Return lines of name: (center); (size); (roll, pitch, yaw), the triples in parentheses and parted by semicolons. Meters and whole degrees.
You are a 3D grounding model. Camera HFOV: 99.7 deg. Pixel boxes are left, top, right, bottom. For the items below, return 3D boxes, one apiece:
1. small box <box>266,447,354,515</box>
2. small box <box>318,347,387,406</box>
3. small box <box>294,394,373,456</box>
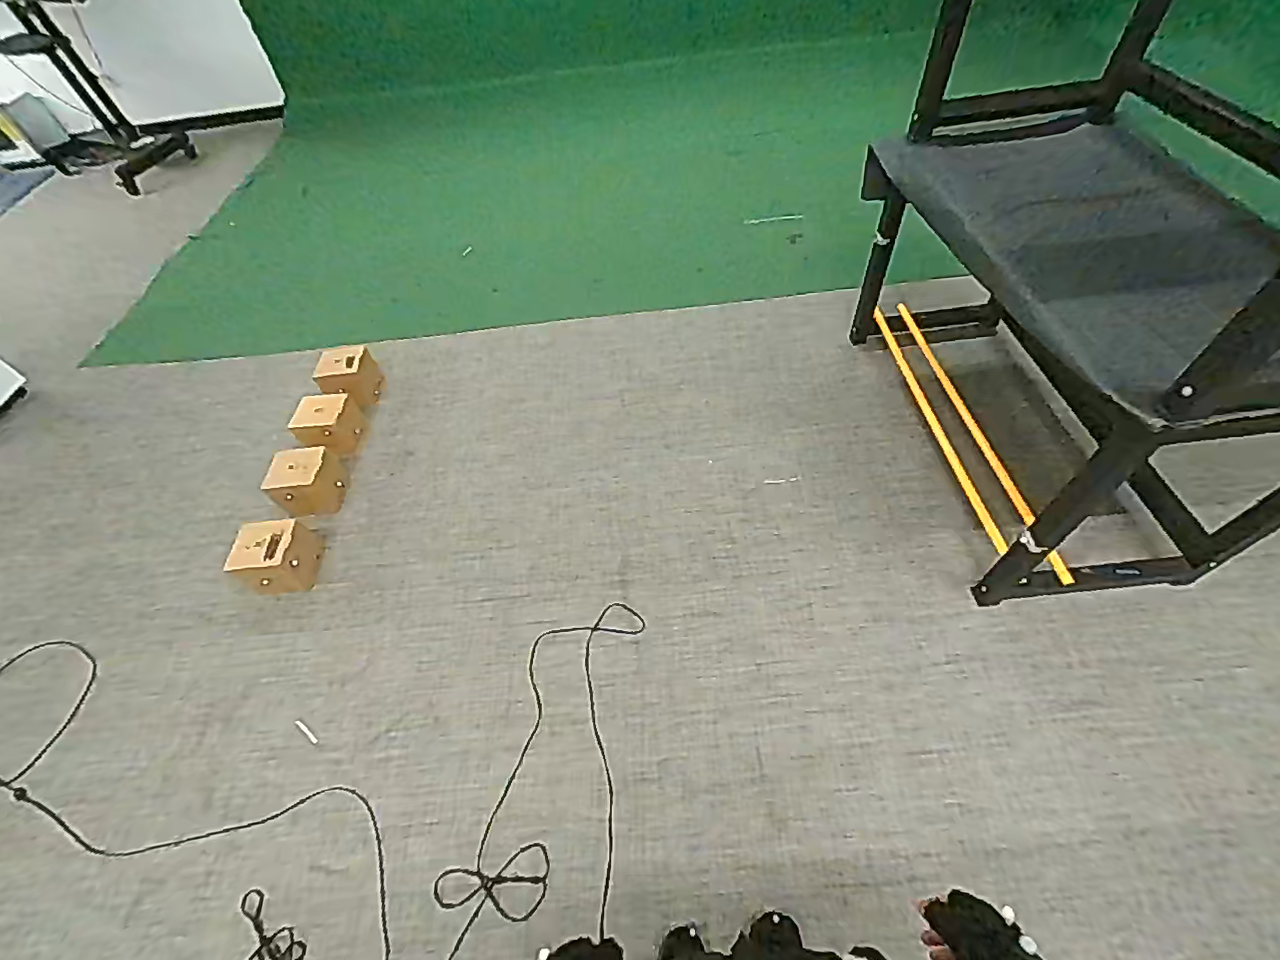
small box: (-1.133, 0.008, 1.868); (0.179, 0.176, 0.168); (-5, 53, 1)
small box: (-1.161, -0.414, 2.200); (0.179, 0.176, 0.168); (-7, 52, 1)
small box: (-1.147, -0.202, 2.035); (0.179, 0.176, 0.168); (-4, 52, 3)
